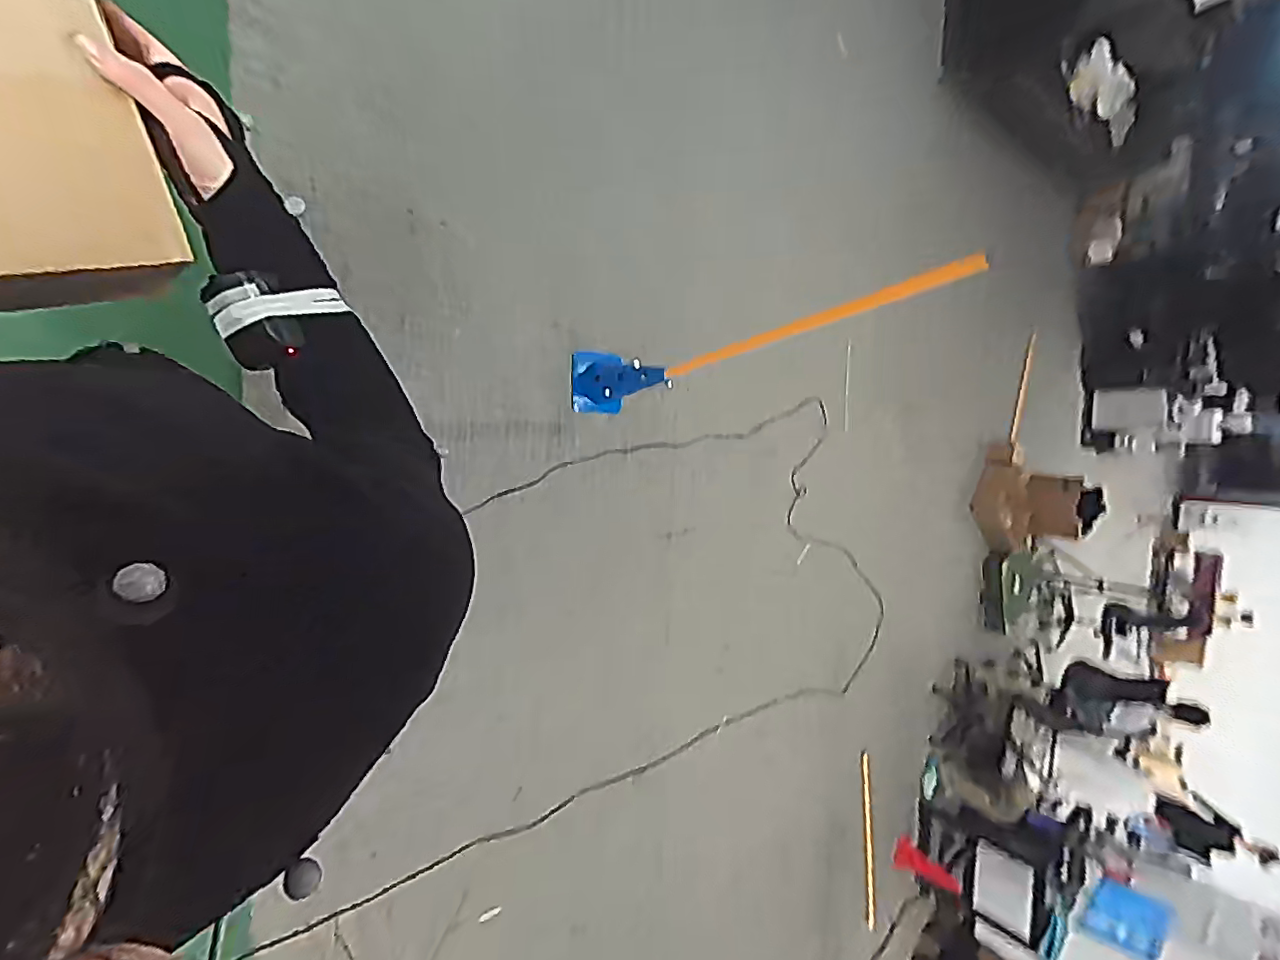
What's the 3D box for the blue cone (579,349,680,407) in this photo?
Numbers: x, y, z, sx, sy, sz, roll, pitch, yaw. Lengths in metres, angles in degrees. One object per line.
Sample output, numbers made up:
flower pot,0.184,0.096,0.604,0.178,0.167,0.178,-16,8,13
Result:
blue cone,-0.022,-0.335,1.683,0.192,0.380,0.193,-6,96,-38
